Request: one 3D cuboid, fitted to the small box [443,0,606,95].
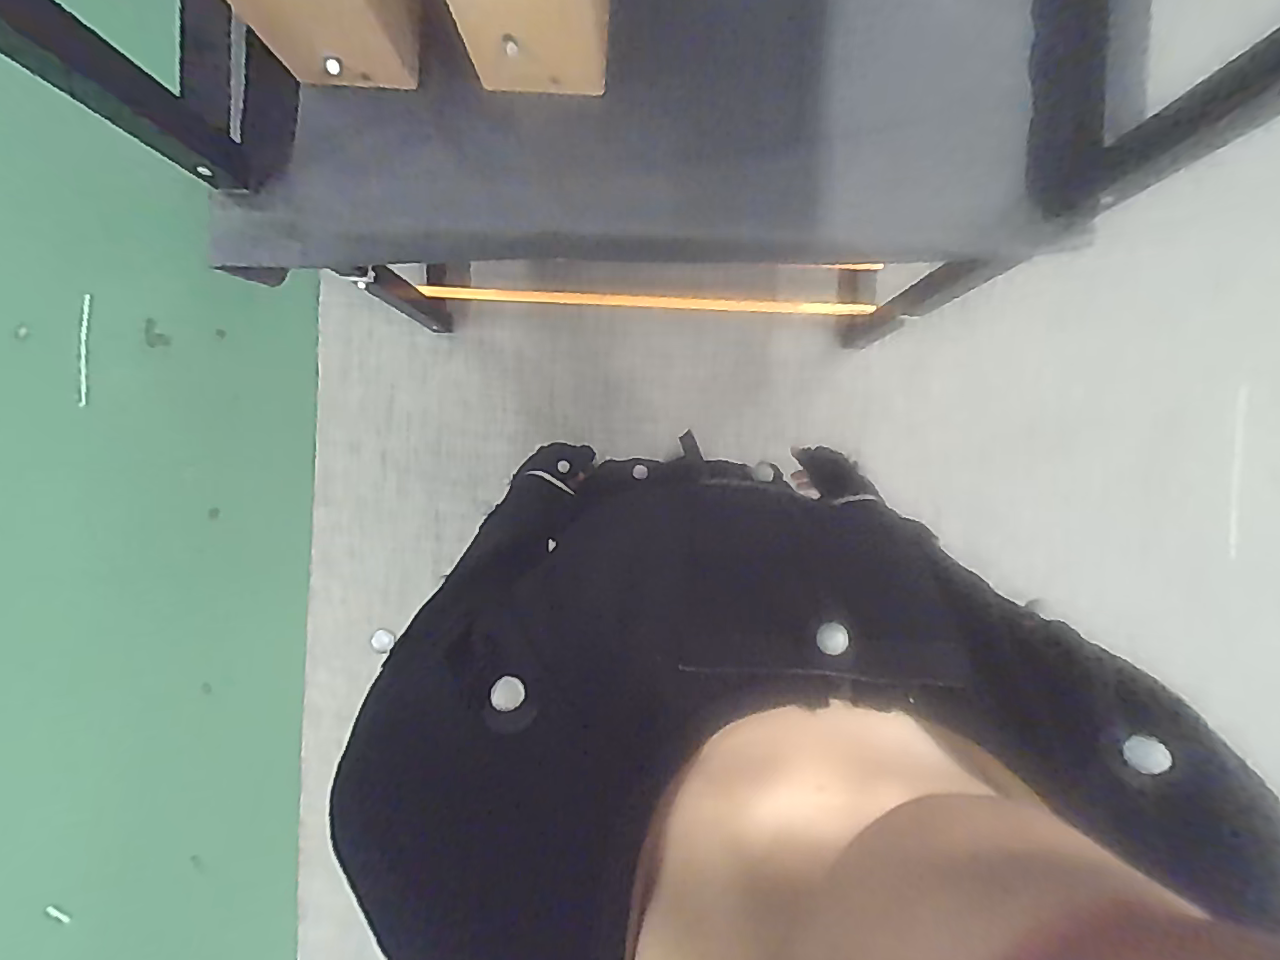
[{"bbox_3d":[-0.131,-0.612,0.662,0.168,0.176,0.179,3,91,0],"label":"small box"}]

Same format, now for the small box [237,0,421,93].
[{"bbox_3d":[-0.383,-0.624,0.662,0.168,0.176,0.179,4,92,1],"label":"small box"}]
